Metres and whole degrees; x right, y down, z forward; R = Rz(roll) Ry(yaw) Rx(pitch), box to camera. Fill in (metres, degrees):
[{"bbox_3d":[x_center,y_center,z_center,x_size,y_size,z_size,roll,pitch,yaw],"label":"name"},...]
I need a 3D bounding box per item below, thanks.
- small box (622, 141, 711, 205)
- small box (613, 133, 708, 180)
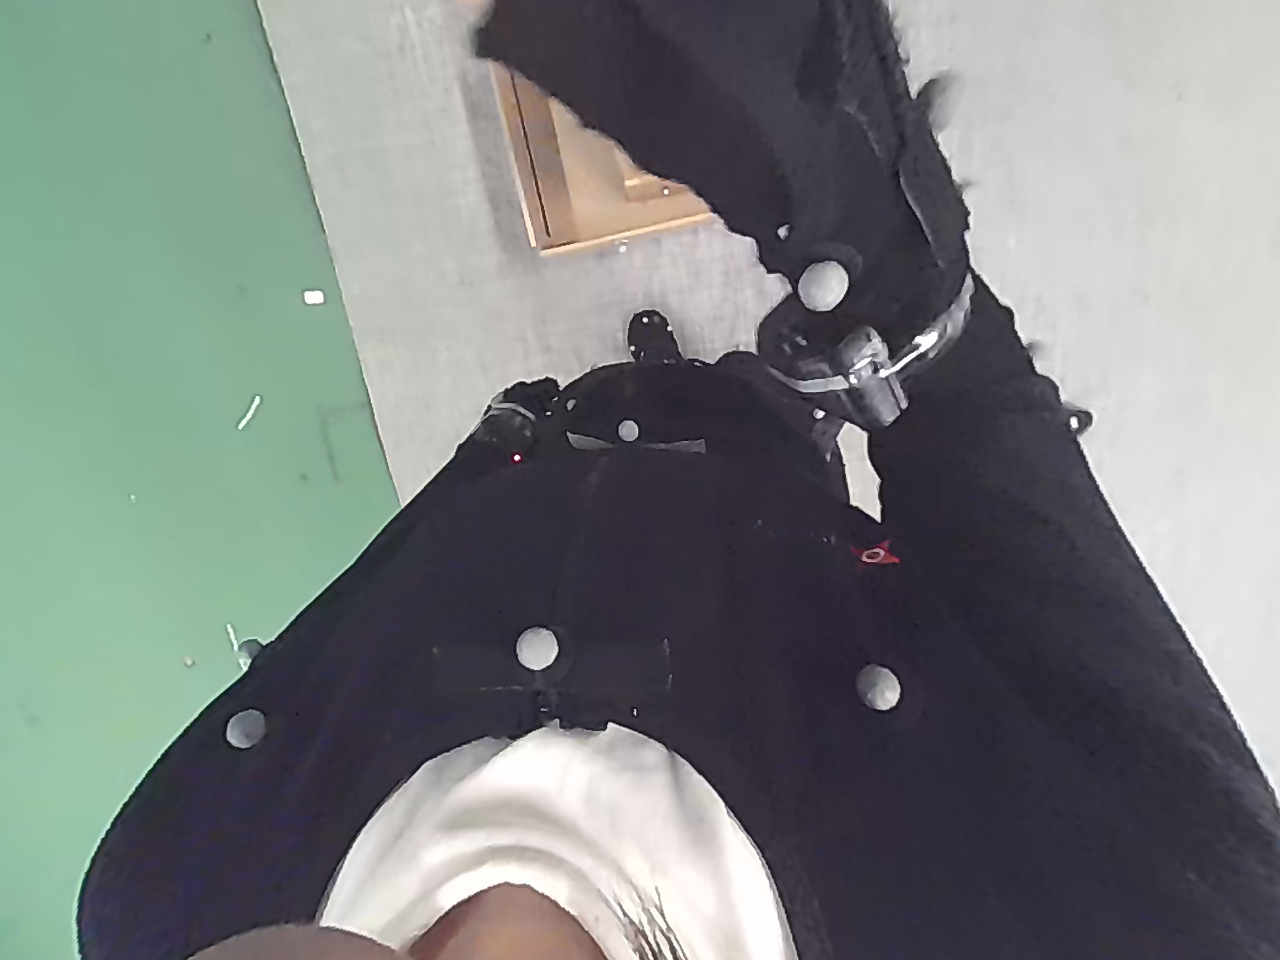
[{"bbox_3d":[0.048,-0.691,1.128,0.179,0.176,0.168,-7,105,7],"label":"small box"},{"bbox_3d":[0.028,-0.661,0.971,0.168,0.176,0.179,-12,105,8],"label":"small box"}]
